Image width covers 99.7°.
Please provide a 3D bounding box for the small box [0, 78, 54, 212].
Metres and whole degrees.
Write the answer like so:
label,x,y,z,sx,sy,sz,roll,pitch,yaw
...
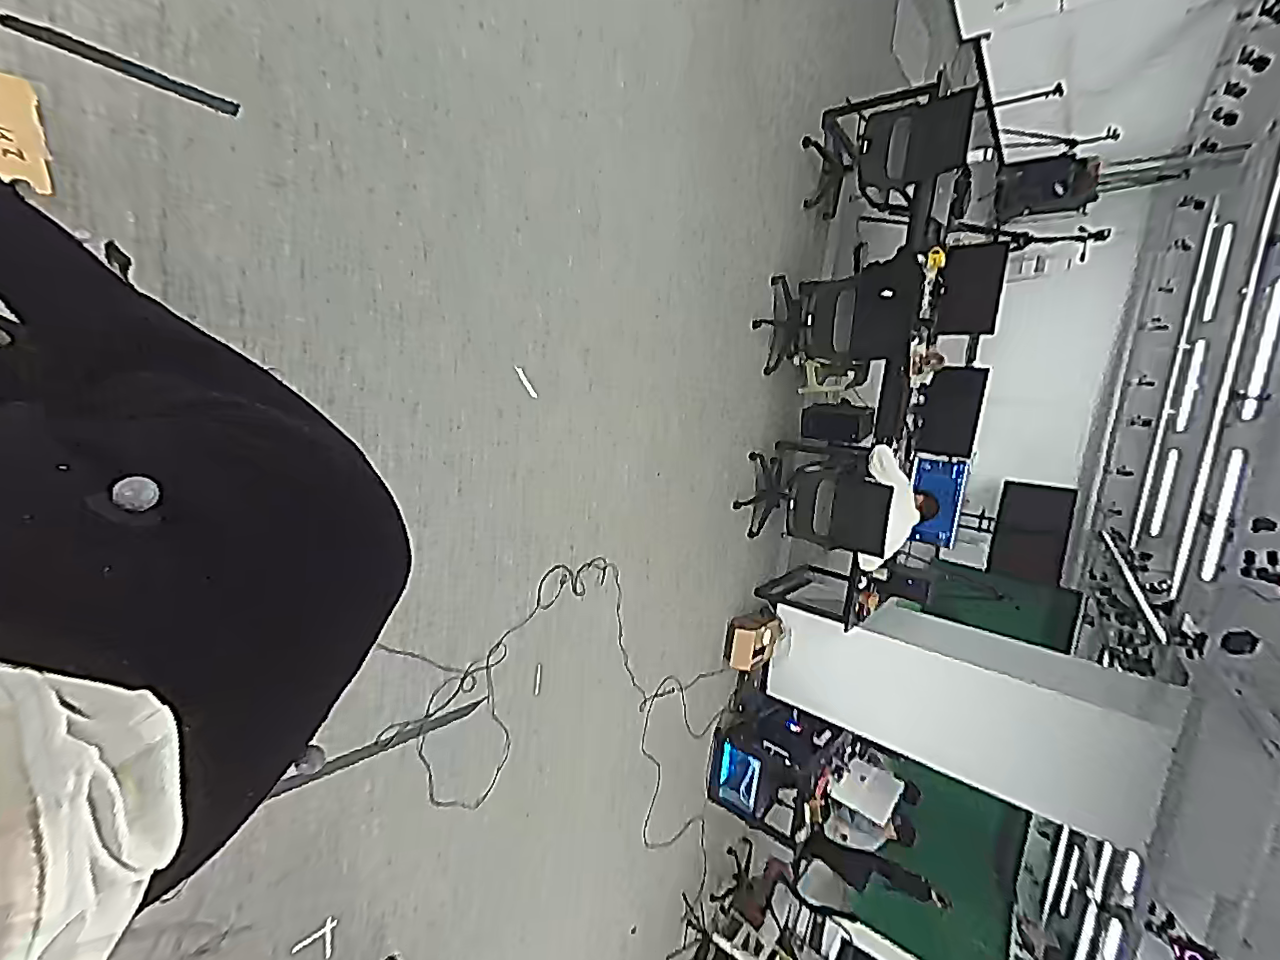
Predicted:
label,x,y,z,sx,sy,sz,roll,pitch,yaw
small box,-1.062,-0.534,0.845,0.179,0.176,0.168,-11,108,-50
